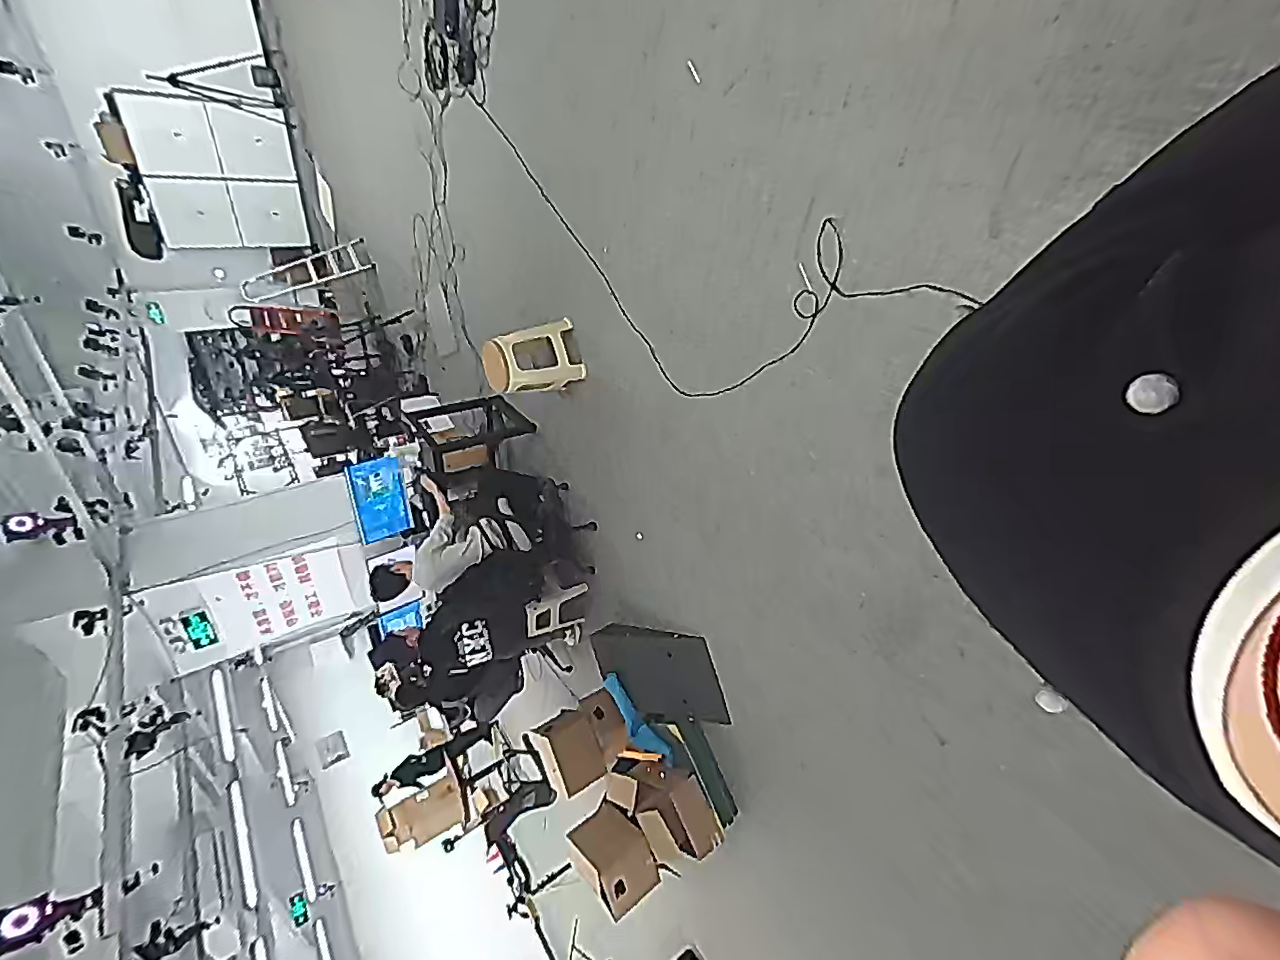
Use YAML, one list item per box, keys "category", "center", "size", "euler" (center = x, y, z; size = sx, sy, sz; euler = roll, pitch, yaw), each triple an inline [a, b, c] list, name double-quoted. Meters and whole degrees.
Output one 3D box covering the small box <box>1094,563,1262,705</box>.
- category: "small box"
  center: [1.065, 0.298, 1.072]
  size: [0.168, 0.176, 0.179]
  euler: [39, 135, 38]
